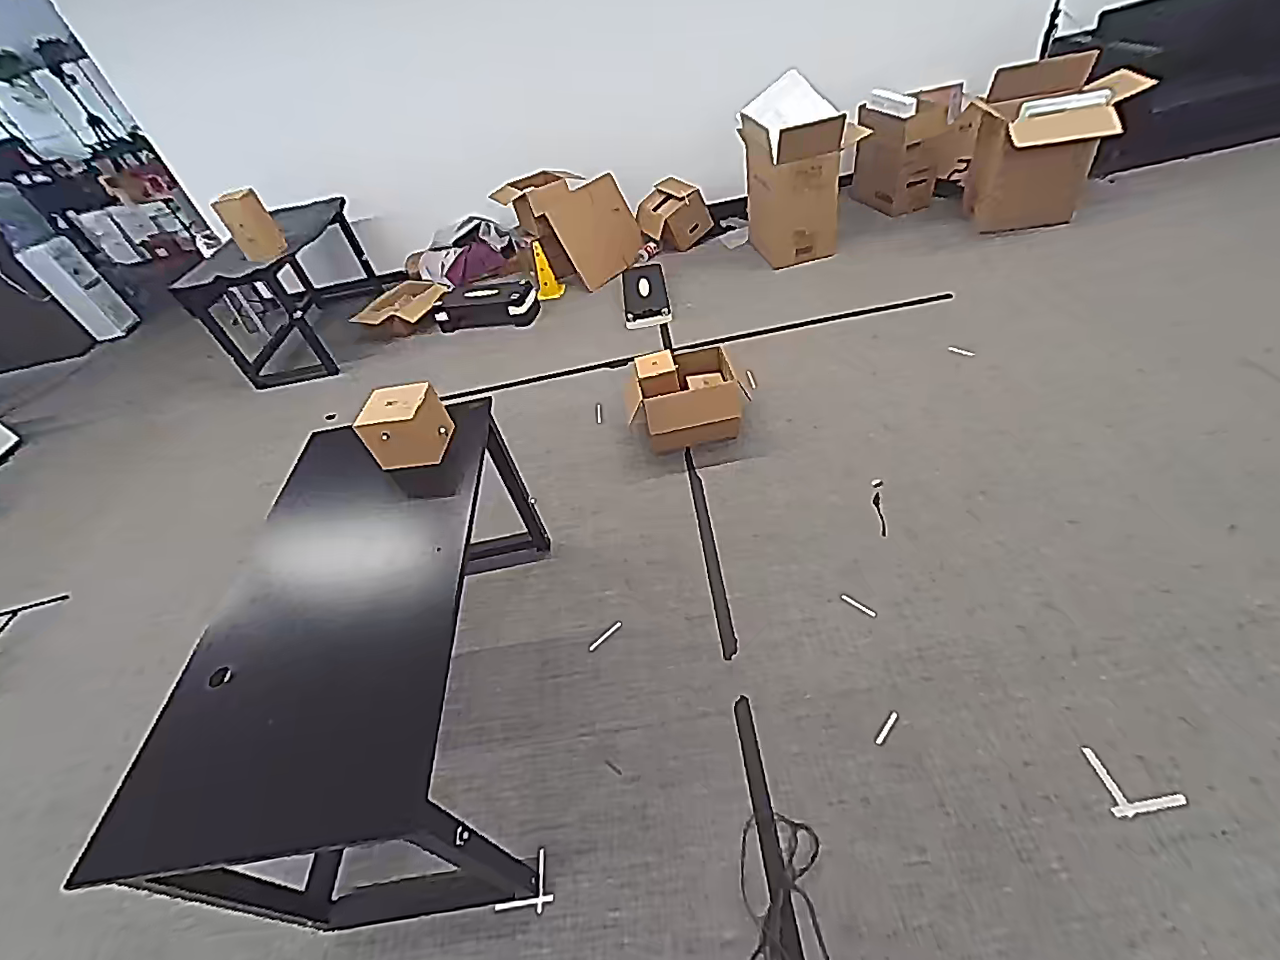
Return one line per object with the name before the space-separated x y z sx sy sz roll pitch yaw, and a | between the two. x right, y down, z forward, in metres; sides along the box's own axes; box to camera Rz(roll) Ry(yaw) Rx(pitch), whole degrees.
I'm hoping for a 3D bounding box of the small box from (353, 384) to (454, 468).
small box | -0.660 -0.148 1.530 0.179 0.176 0.168 -6 46 9
